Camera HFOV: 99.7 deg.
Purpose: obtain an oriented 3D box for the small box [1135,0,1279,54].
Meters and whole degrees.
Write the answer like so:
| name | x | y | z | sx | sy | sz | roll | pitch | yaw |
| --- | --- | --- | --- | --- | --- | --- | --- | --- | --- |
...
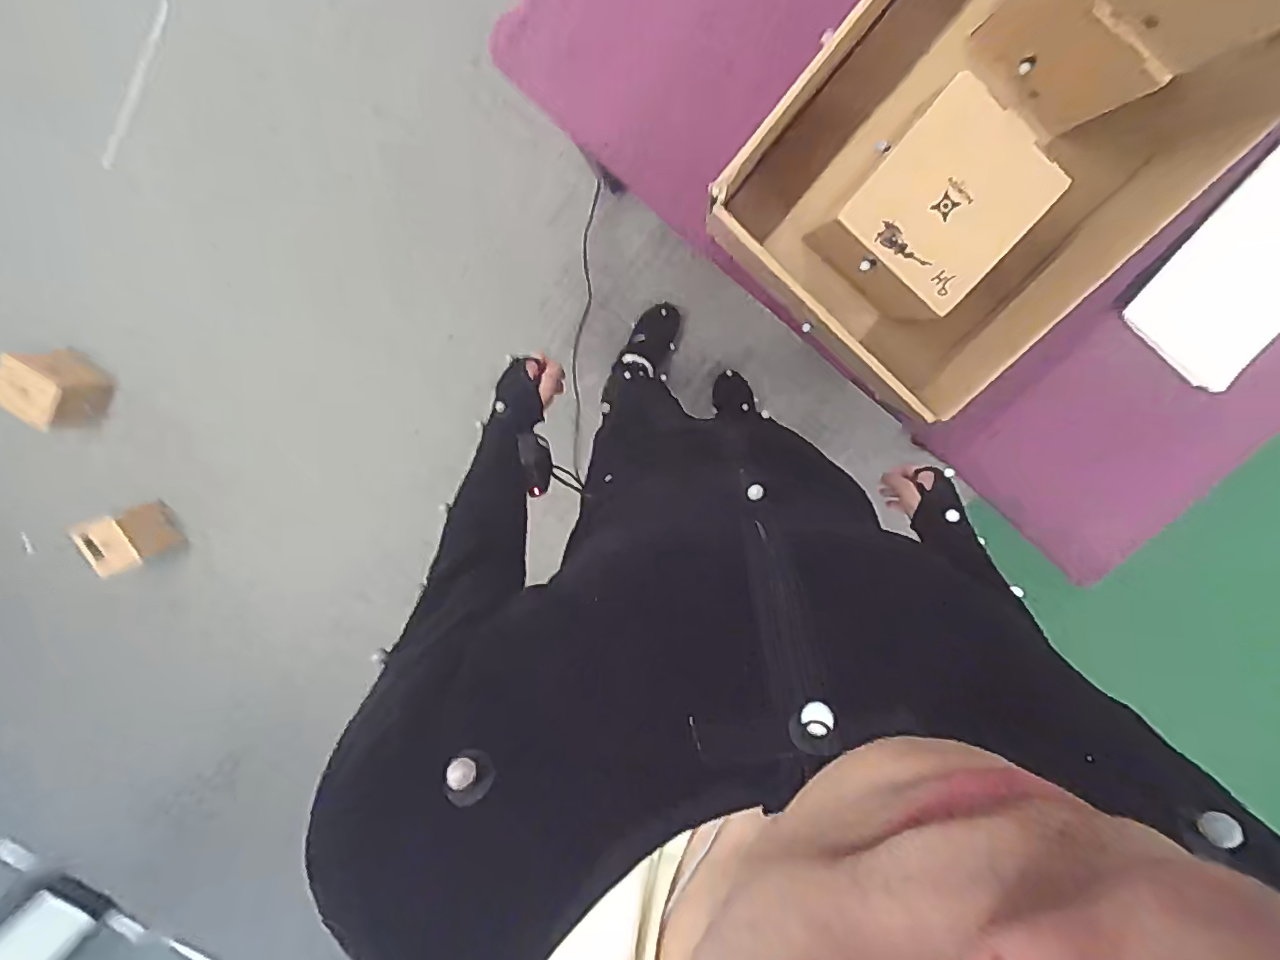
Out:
| name | x | y | z | sx | sy | sz | roll | pitch | yaw |
| --- | --- | --- | --- | --- | --- | --- | --- | --- | --- |
| small box | 0.494 | -0.477 | 0.400 | 0.168 | 0.176 | 0.179 | 37 | 107 | -8 |

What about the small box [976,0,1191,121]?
| name | x | y | z | sx | sy | sz | roll | pitch | yaw |
| --- | --- | --- | --- | --- | --- | --- | --- | --- | --- |
| small box | 0.502 | -0.523 | 0.557 | 0.168 | 0.176 | 0.179 | 38 | 108 | -8 |

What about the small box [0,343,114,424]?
| name | x | y | z | sx | sy | sz | roll | pitch | yaw |
| --- | --- | --- | --- | --- | --- | --- | --- | --- | --- |
| small box | -1.747 | -0.296 | 1.614 | 0.179 | 0.176 | 0.168 | 35 | 106 | -7 |
